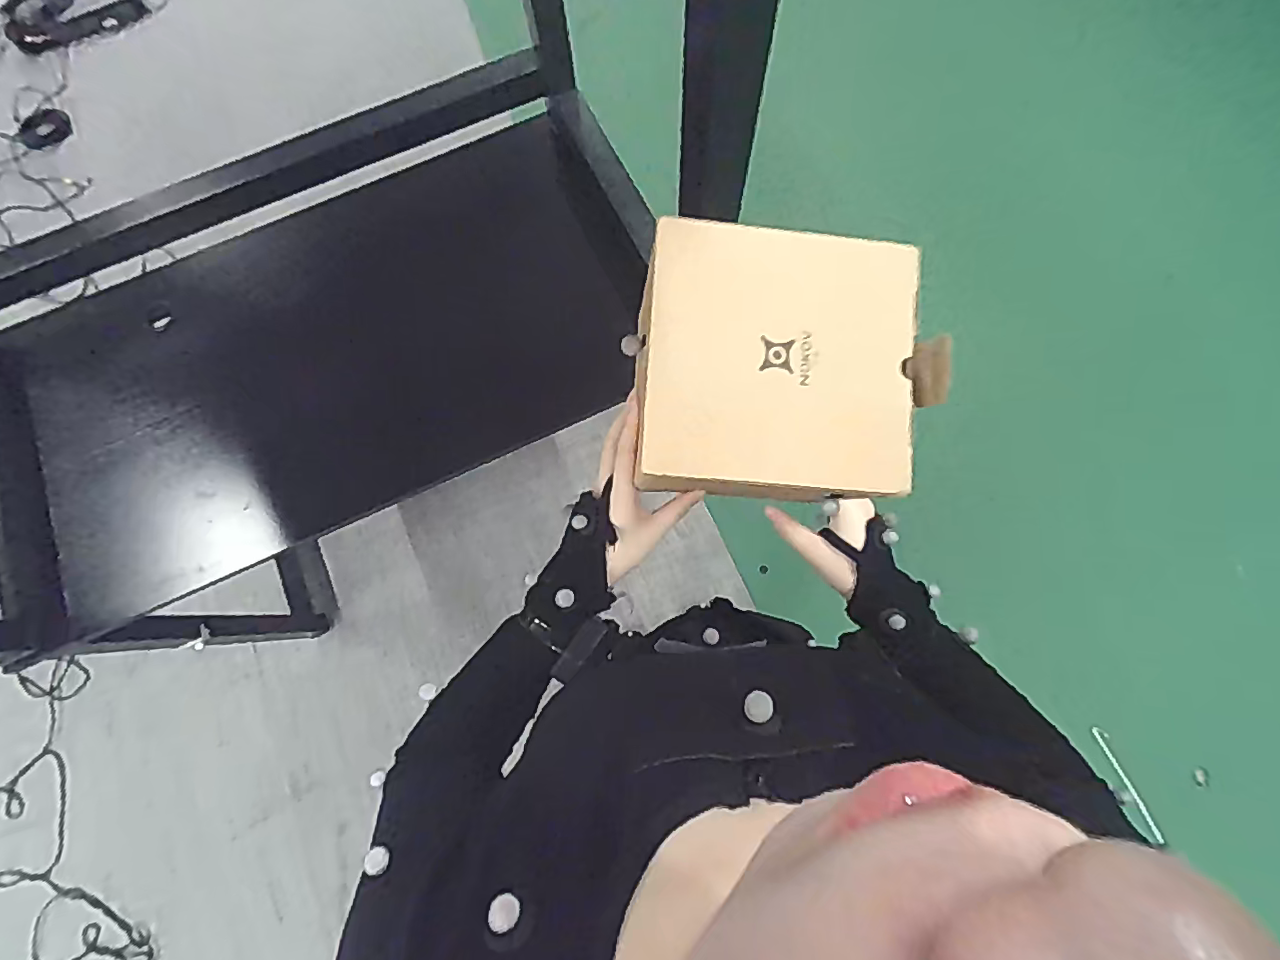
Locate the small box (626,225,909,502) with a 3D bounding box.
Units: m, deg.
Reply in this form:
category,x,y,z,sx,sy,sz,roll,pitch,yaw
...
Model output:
category,x,y,z,sx,sy,sz,roll,pitch,yaw
small box,0.083,-0.072,0.429,0.179,0.176,0.168,5,85,-5
